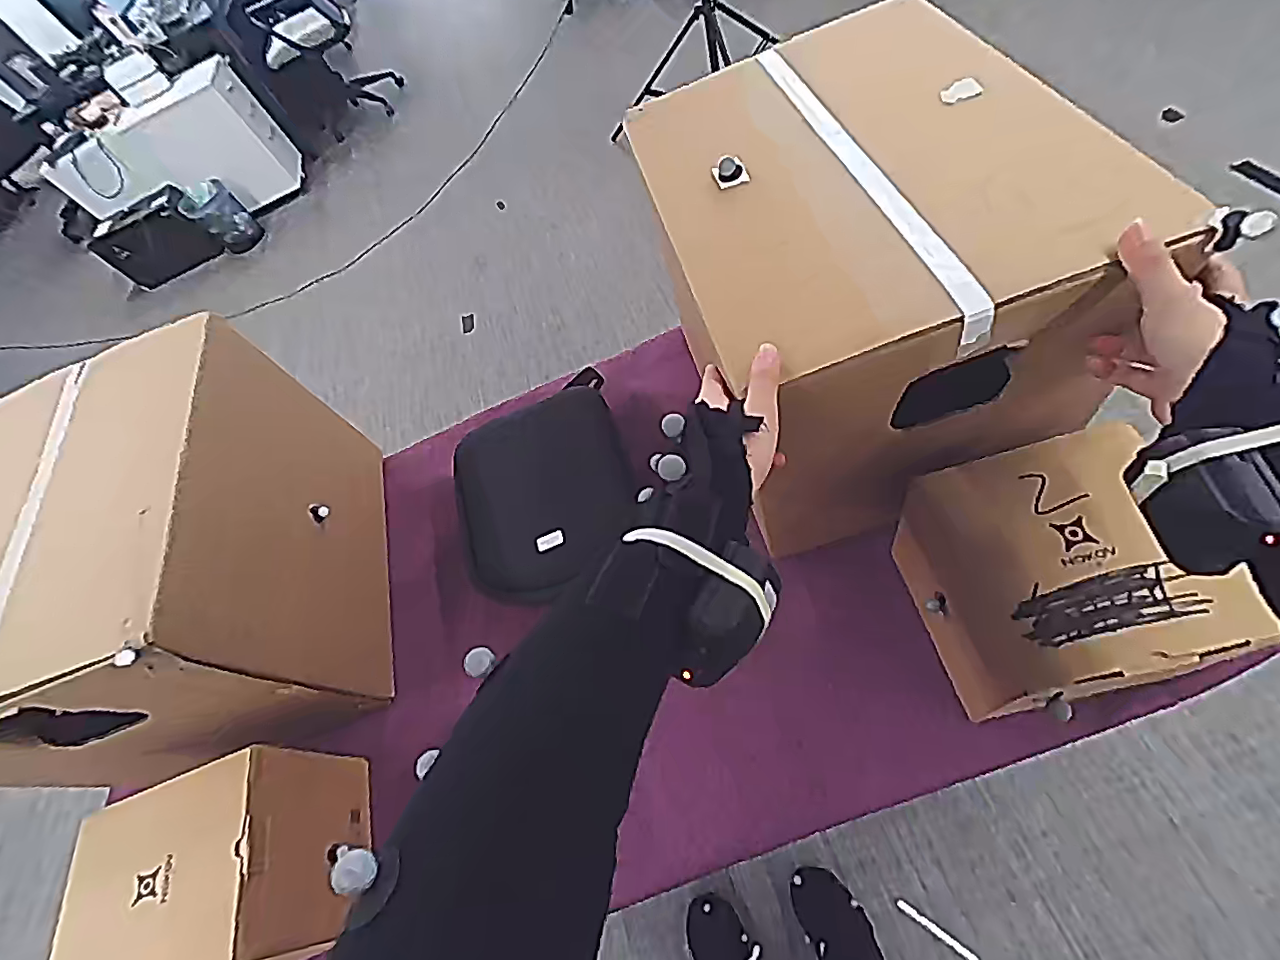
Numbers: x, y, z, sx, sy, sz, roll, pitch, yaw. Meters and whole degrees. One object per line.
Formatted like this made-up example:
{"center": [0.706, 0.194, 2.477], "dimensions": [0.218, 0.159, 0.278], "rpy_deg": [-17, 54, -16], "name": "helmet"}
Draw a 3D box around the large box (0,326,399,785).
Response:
{"center": [-0.535, 0.101, 0.658], "dimensions": [0.320, 0.320, 0.408], "rpy_deg": [-23, 60, 3], "name": "large box"}
